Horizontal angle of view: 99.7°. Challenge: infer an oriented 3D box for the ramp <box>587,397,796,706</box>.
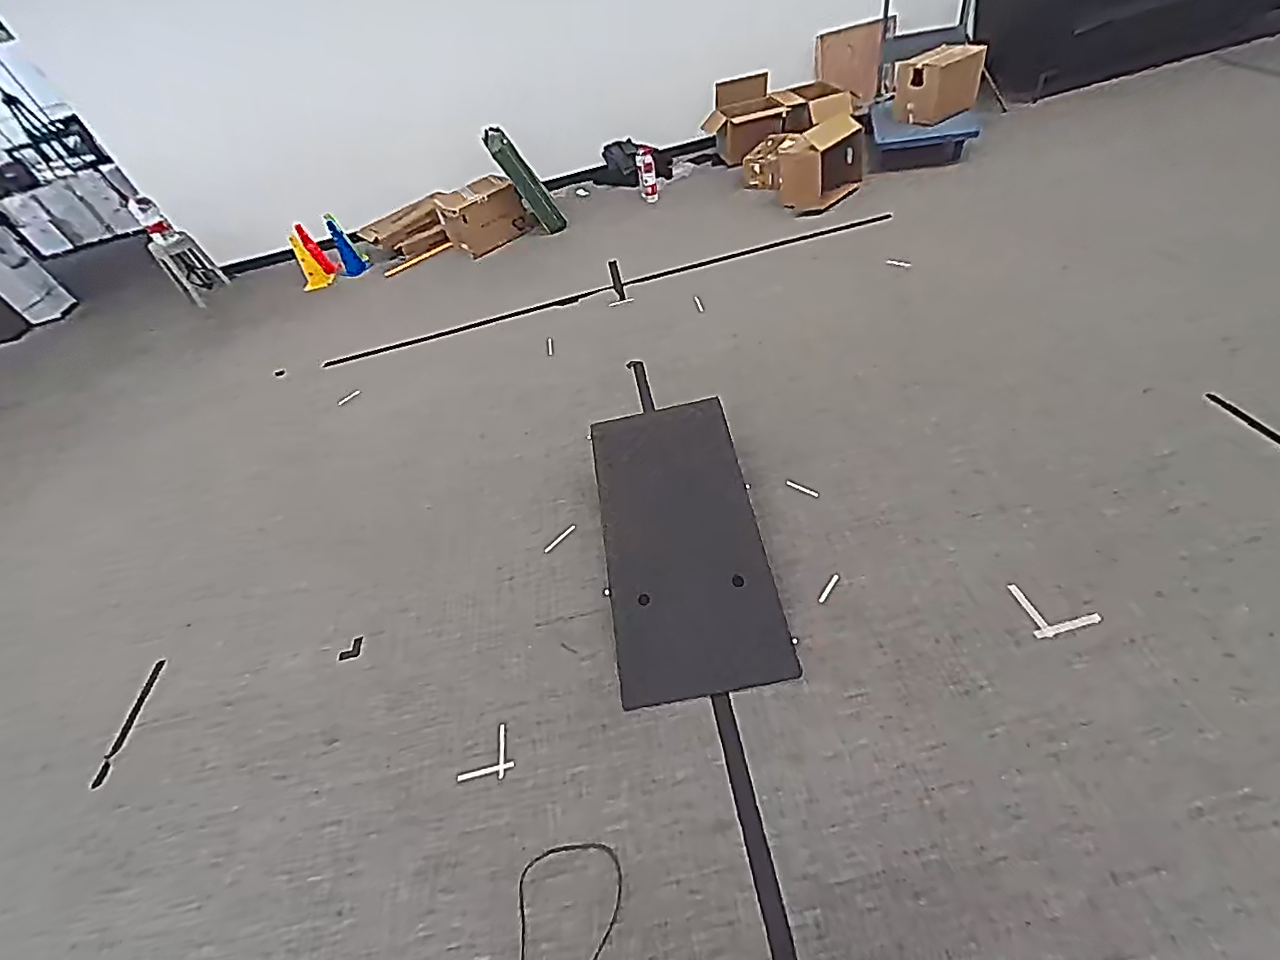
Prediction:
[{"bbox_3d":[0.115,0.157,1.728,0.509,0.206,0.991,-13,47,1],"label":"ramp"}]
